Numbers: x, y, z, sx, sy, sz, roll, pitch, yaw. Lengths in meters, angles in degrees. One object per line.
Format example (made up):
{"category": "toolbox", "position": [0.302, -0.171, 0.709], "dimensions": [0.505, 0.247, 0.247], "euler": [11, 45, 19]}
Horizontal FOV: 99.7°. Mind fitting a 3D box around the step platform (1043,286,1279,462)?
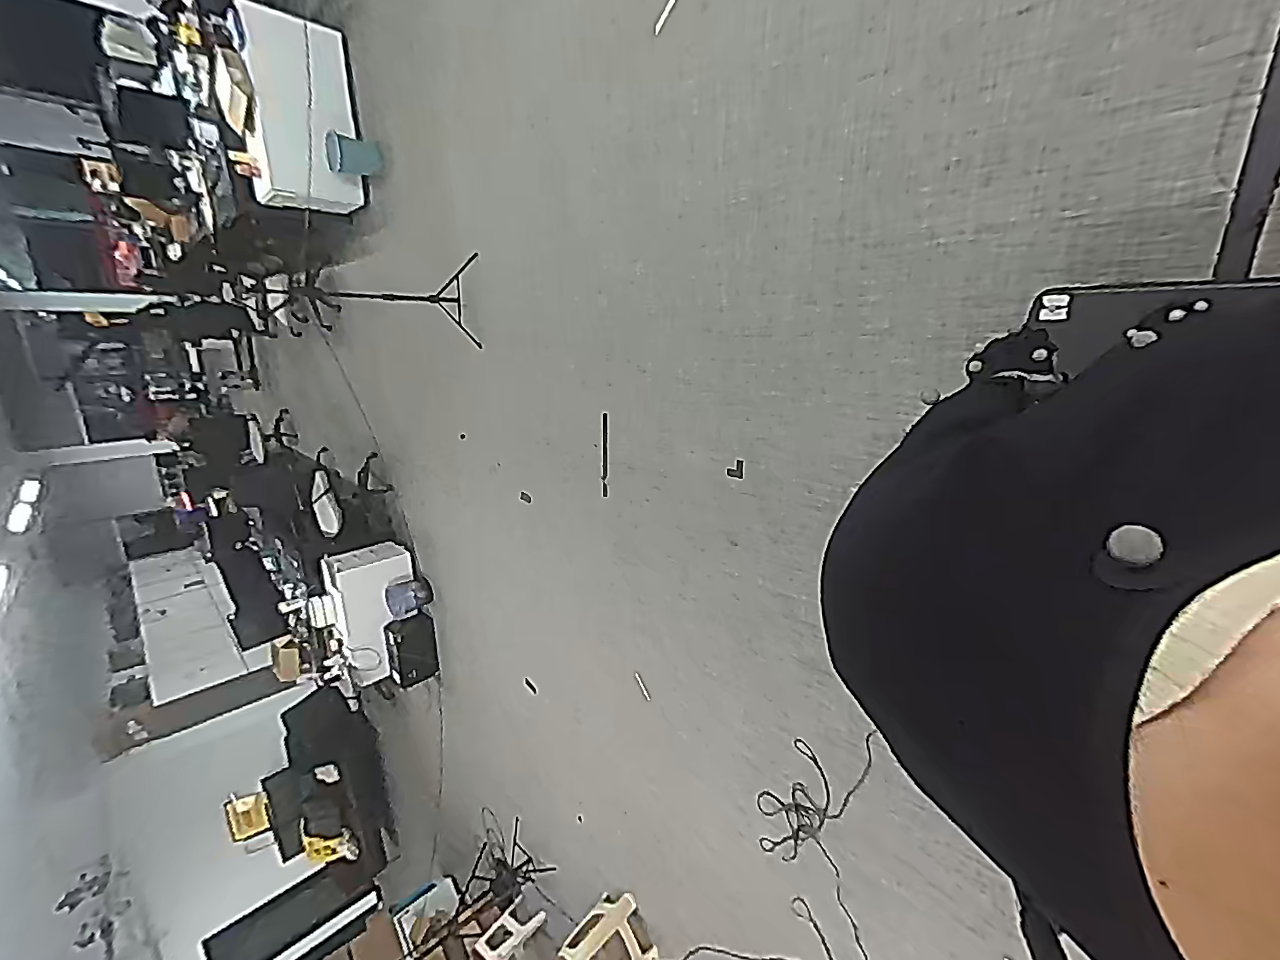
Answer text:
{"category": "step platform", "position": [1.144, -0.185, 0.957], "dimensions": [0.684, 0.204, 0.286], "euler": [20, 114, 41]}
